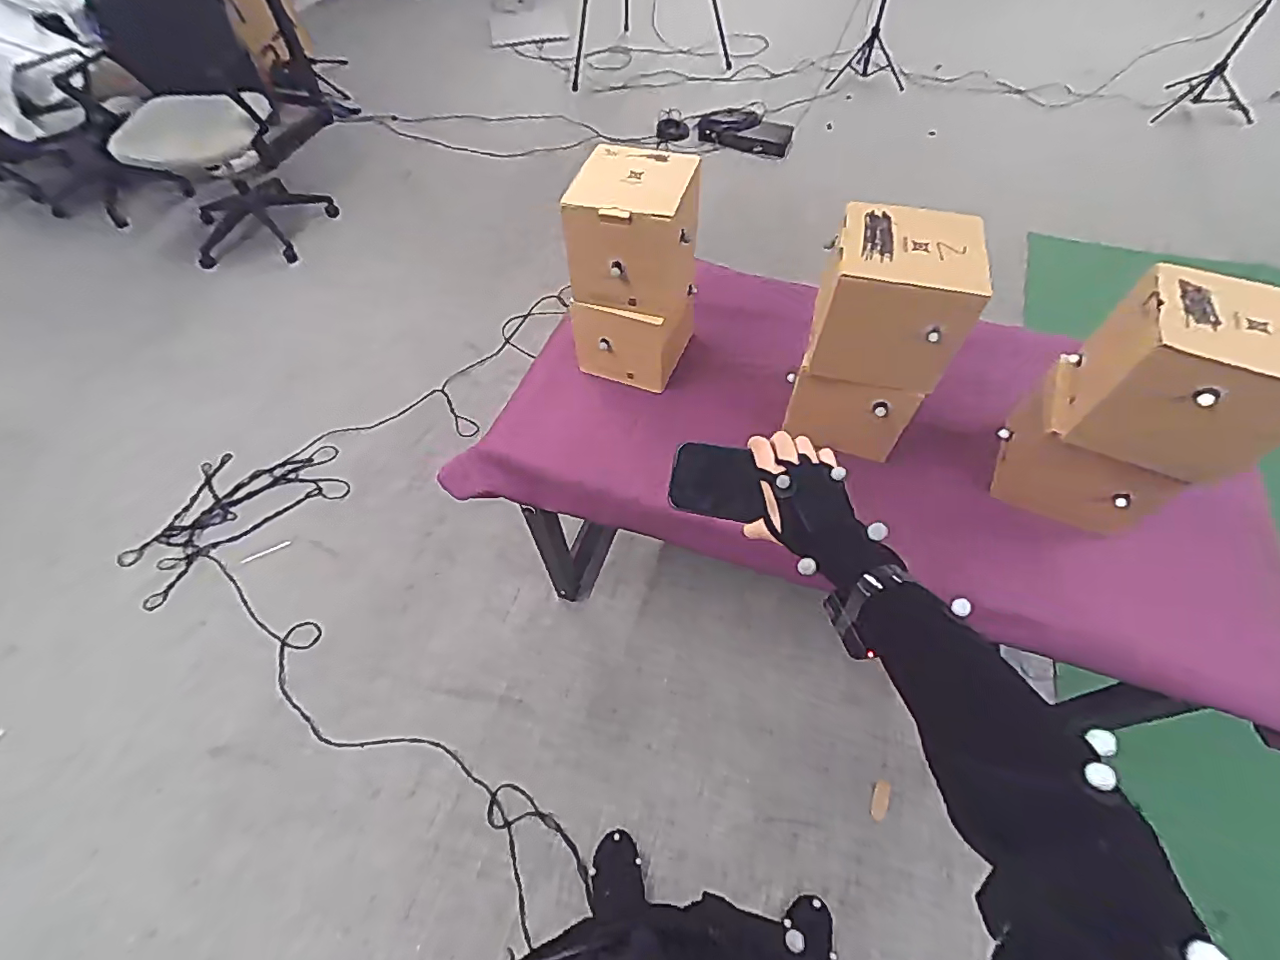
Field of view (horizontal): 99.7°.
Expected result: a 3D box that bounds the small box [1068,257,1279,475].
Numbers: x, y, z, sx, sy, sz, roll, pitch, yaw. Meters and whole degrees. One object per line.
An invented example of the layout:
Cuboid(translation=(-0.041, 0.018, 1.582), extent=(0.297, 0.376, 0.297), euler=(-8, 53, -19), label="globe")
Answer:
Cuboid(translation=(0.658, -0.132, 0.648), extent=(0.179, 0.176, 0.168), euler=(22, 59, 16), label="small box")

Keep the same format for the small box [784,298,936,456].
Cuboid(translation=(0.349, -0.162, 0.877), extent=(0.179, 0.176, 0.168), euler=(17, 58, 13), label="small box")

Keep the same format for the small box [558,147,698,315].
Cuboid(translation=(-0.010, -0.385, 0.847), extent=(0.168, 0.176, 0.179), euler=(13, 58, 10), label="small box")

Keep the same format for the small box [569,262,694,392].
Cuboid(translation=(-0.007, -0.287, 0.978), extent=(0.168, 0.176, 0.179), euler=(17, 58, 14), label="small box")

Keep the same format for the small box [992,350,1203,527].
Cuboid(translation=(0.661, -0.054, 0.793), extent=(0.179, 0.176, 0.168), euler=(22, 59, 17), label="small box")
